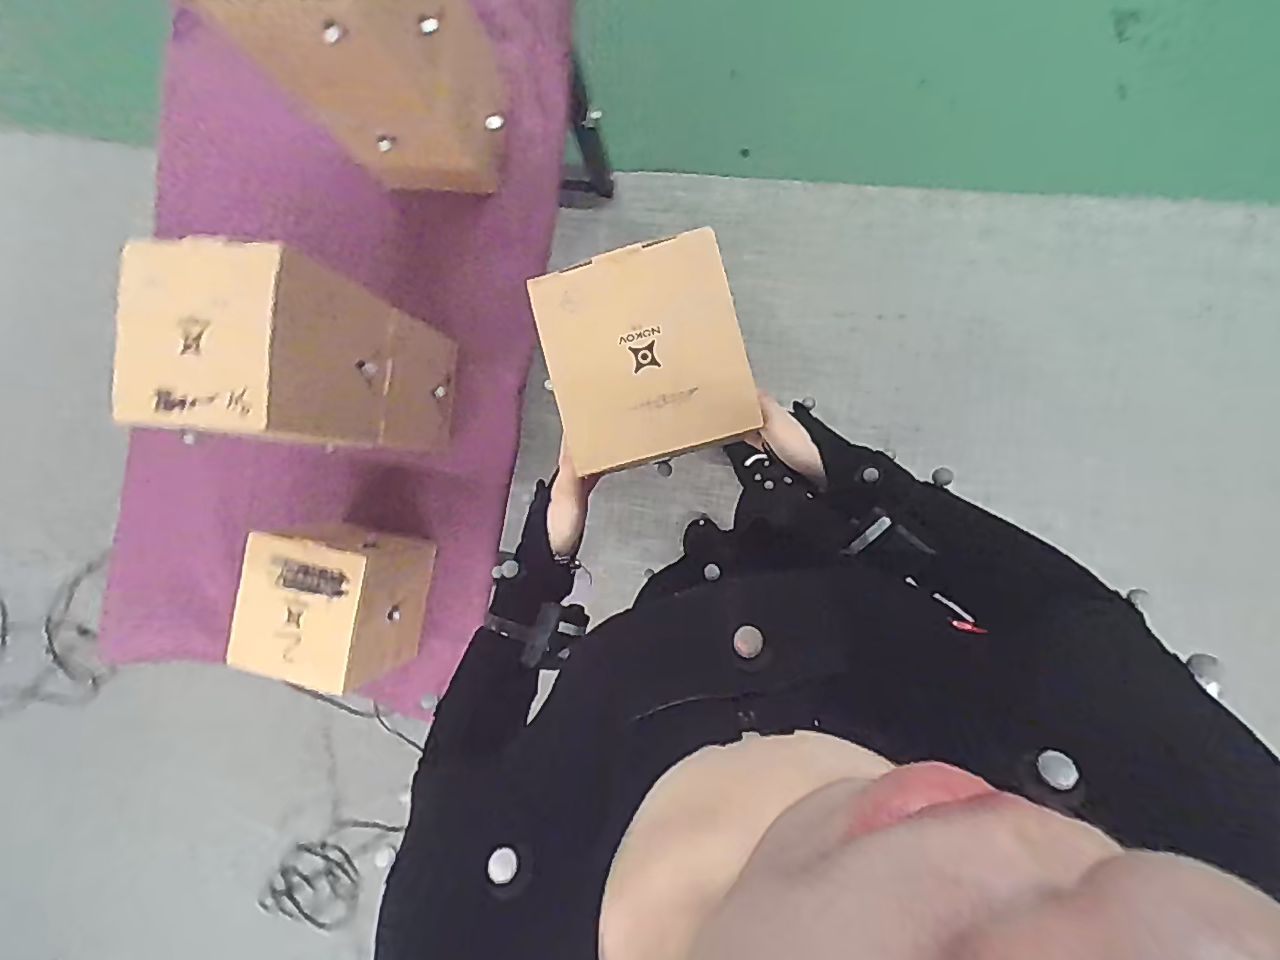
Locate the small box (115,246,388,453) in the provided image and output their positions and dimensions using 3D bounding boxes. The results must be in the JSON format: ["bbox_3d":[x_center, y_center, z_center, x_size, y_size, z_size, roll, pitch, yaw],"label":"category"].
[{"bbox_3d":[-0.396,-0.127,0.579,0.168,0.176,0.179,3,89,10],"label":"small box"}]

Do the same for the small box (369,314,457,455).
[{"bbox_3d":[-0.377,-0.124,0.742,0.179,0.176,0.168,4,90,8],"label":"small box"}]
